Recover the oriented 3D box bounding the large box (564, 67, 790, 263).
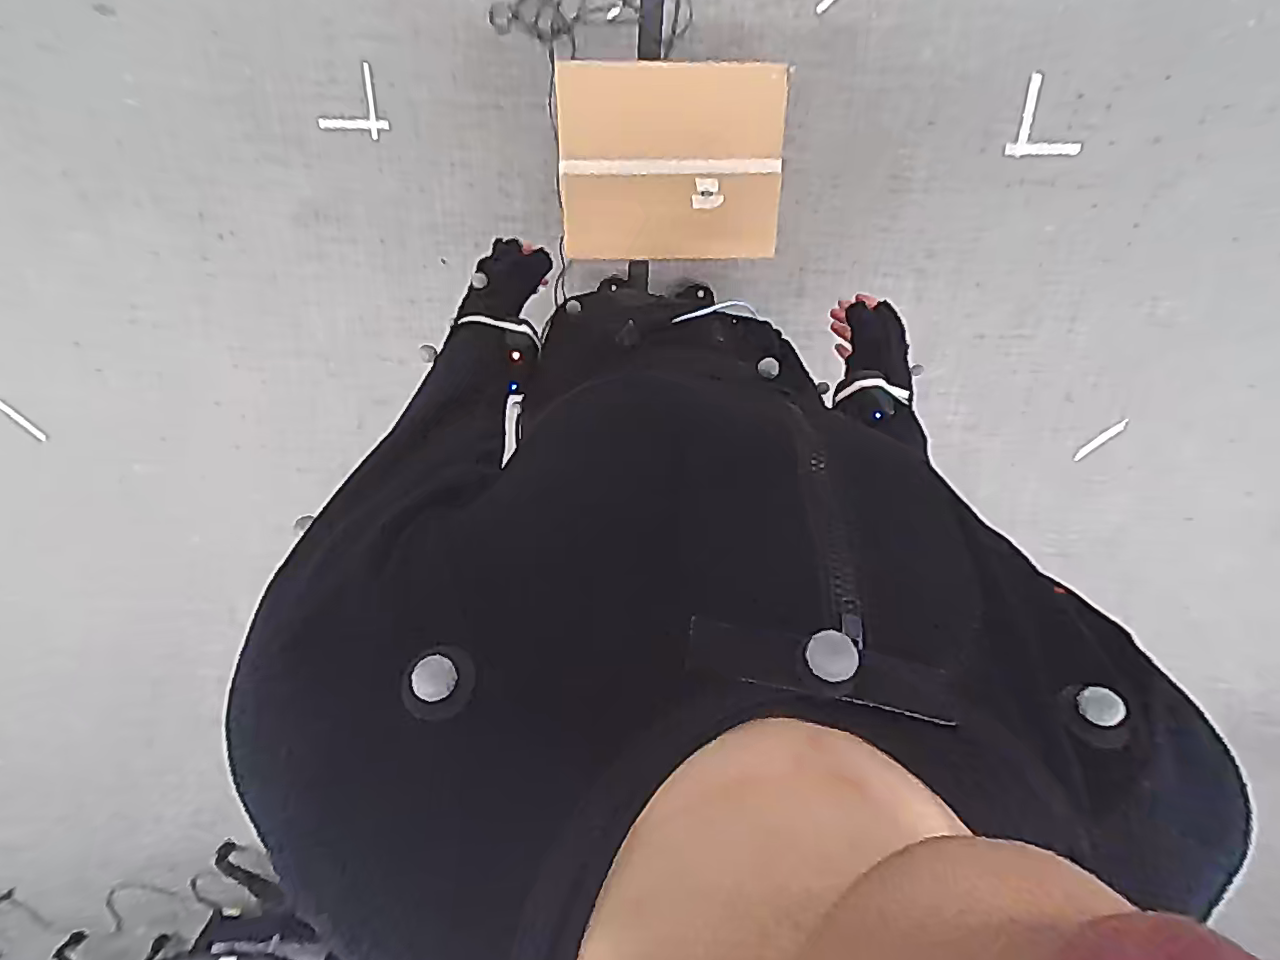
[{"bbox_3d":[0.058,-0.625,1.132,0.408,0.320,0.320,-1,112,-3],"label":"large box"}]
